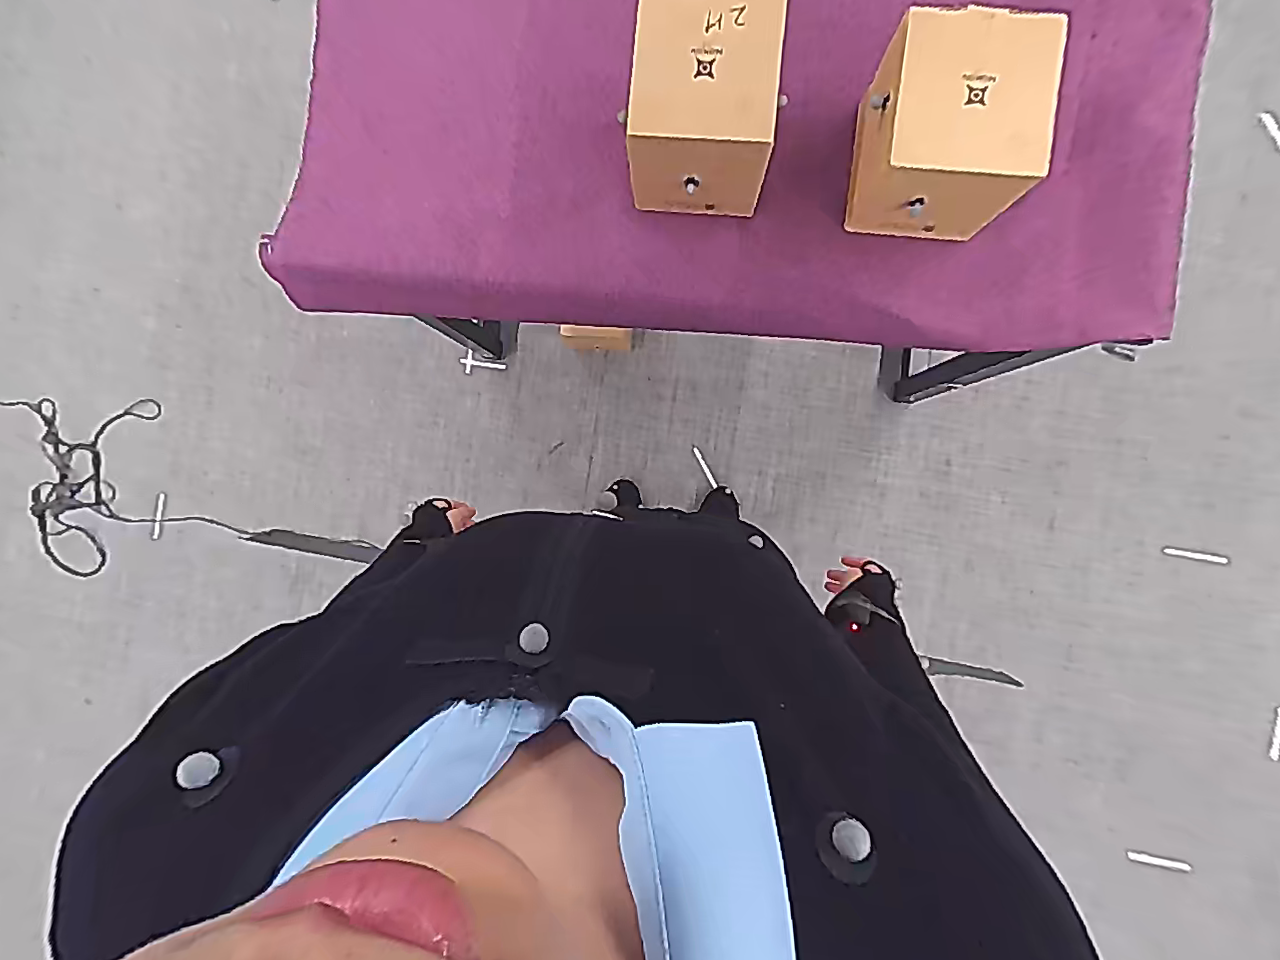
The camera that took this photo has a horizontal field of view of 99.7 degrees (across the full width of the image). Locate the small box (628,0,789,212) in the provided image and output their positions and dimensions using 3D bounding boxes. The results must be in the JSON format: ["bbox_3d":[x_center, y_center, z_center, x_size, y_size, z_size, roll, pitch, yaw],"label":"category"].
[{"bbox_3d":[0.081,-0.465,0.682,0.168,0.176,0.179,6,89,3],"label":"small box"}]

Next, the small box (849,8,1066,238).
[{"bbox_3d":[0.369,-0.419,0.663,0.168,0.176,0.179,7,91,4],"label":"small box"}]
